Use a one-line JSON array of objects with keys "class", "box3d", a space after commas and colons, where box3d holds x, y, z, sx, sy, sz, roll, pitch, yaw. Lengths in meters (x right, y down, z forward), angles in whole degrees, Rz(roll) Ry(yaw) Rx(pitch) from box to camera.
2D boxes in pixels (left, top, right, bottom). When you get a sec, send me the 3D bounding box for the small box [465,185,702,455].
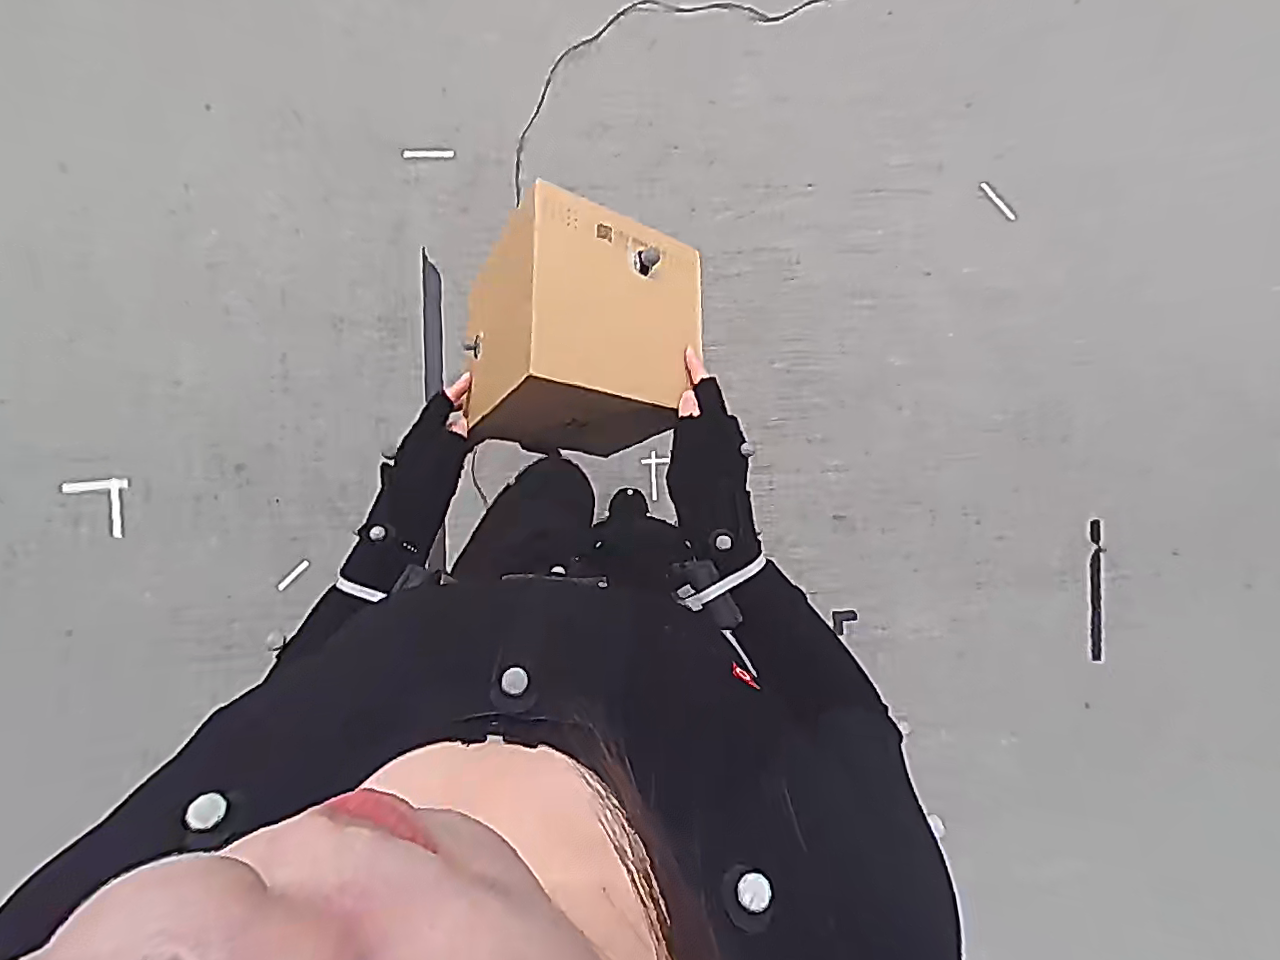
[{"class": "small box", "box3d": [-0.056, -0.133, 0.518, 0.168, 0.179, 0.176, 7, 75, -33]}]
